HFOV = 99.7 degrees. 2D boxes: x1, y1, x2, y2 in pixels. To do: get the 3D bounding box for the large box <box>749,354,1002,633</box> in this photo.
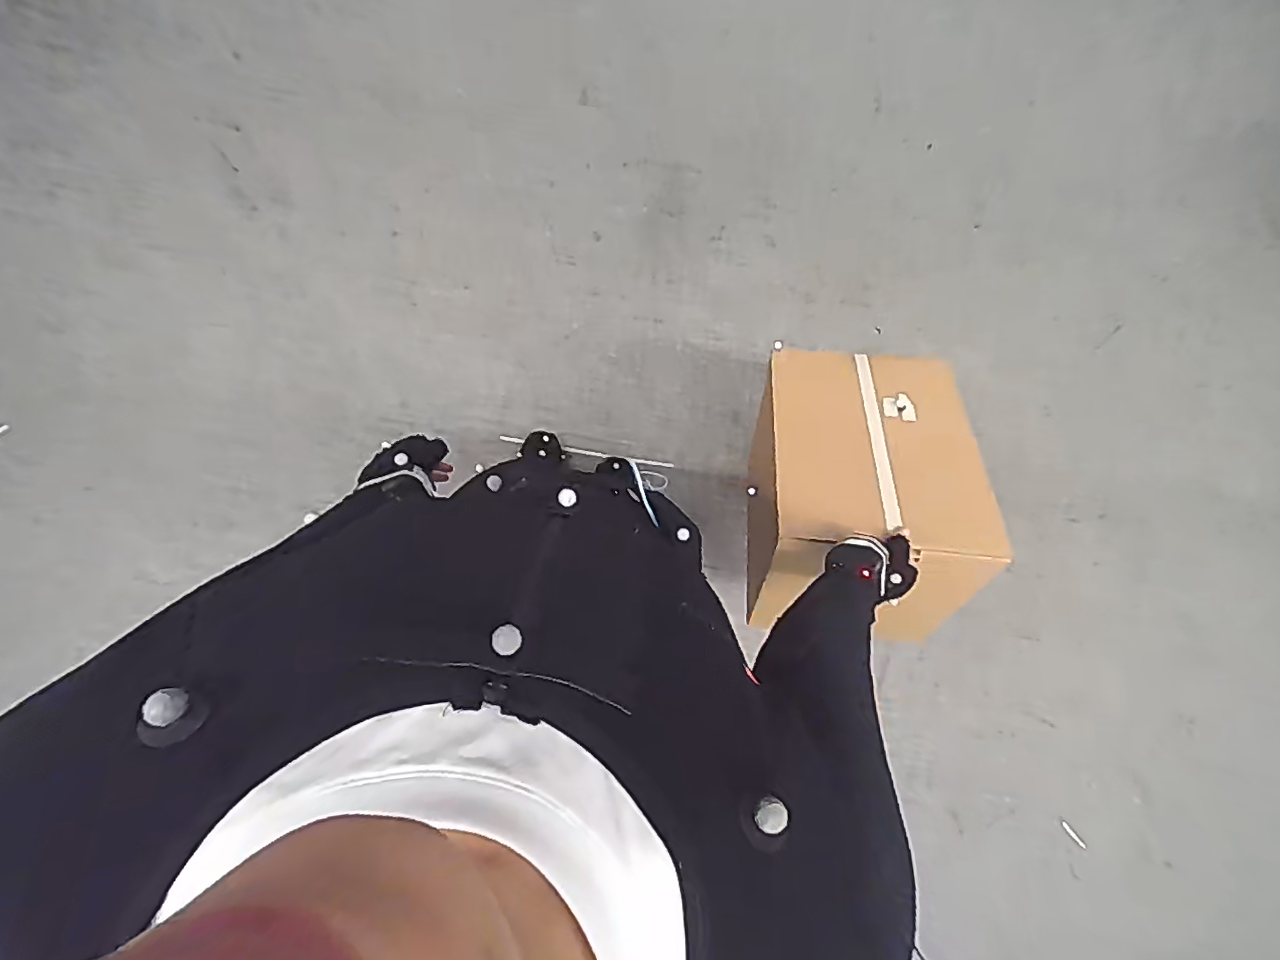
[{"bbox_3d":[0.373,0.025,0.991,0.320,0.320,0.408,6,52,4],"label":"large box"}]
